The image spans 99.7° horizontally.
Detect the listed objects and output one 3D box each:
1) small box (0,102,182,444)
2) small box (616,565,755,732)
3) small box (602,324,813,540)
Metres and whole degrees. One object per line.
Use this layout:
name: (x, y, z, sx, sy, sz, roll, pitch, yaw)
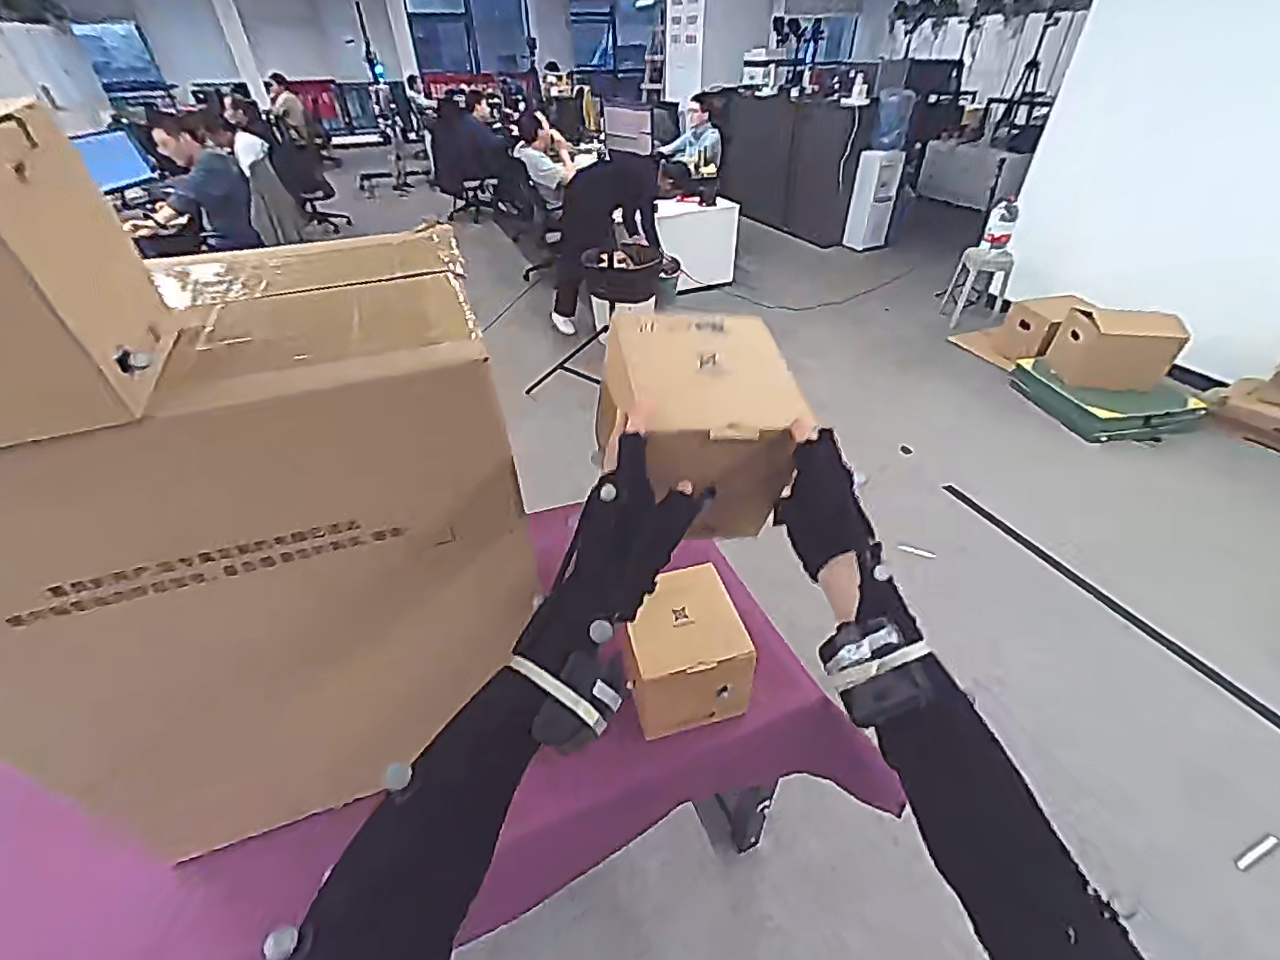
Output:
small box: (-0.448, -0.129, 0.349, 0.179, 0.176, 0.168, -17, 43, -17)
small box: (0.064, 0.266, 0.843, 0.168, 0.176, 0.179, -10, 38, -12)
small box: (0.055, -0.046, 0.584, 0.168, 0.176, 0.179, -1, 49, -13)
